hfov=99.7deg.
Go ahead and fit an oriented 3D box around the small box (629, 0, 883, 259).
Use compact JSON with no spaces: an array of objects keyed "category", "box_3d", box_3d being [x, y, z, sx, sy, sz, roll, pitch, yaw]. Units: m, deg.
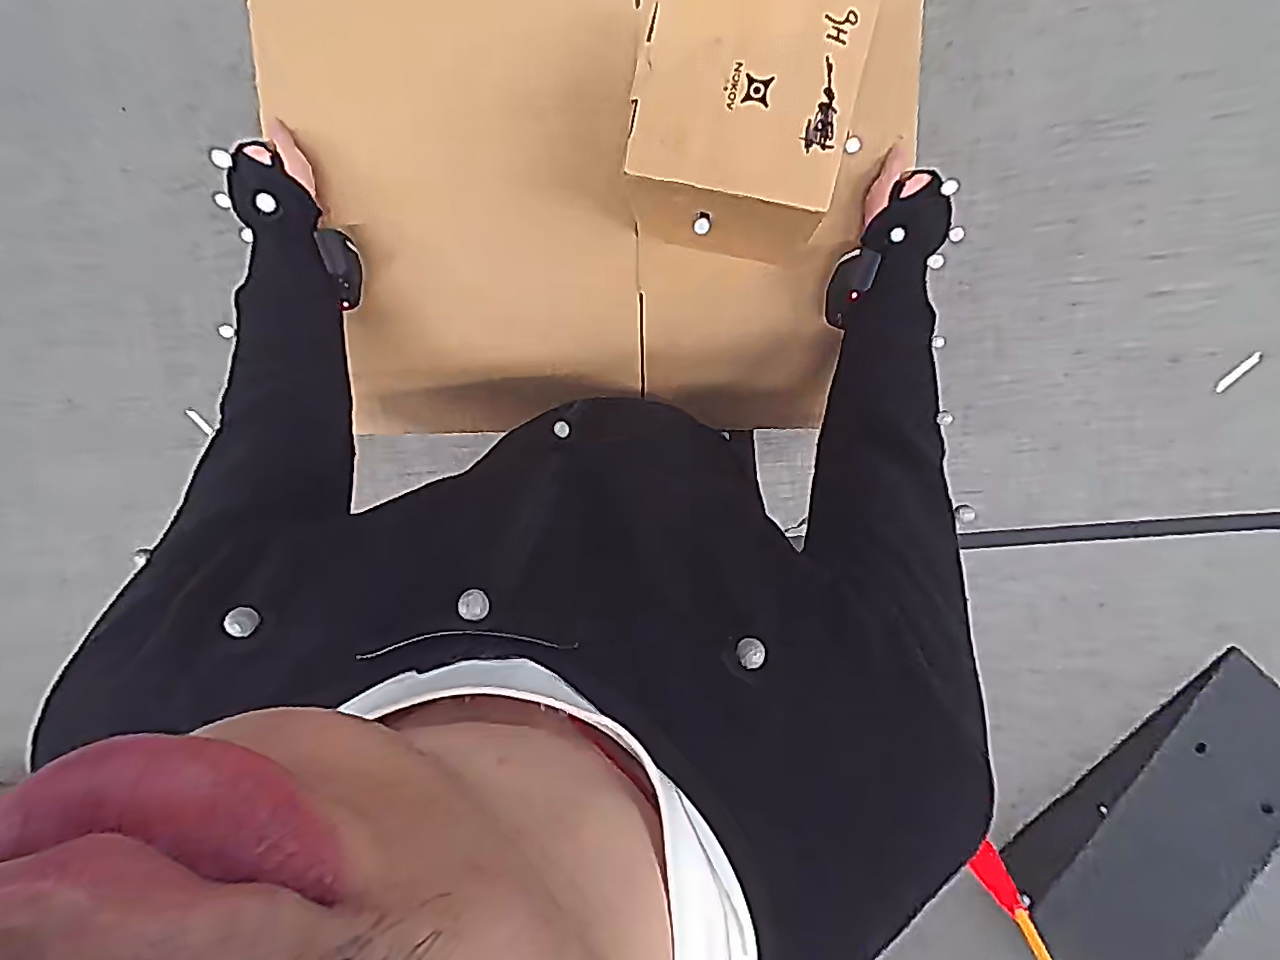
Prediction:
[{"category":"small box","box_3d":[0.101,-0.330,0.522,0.179,0.176,0.168,13,98,5]}]
